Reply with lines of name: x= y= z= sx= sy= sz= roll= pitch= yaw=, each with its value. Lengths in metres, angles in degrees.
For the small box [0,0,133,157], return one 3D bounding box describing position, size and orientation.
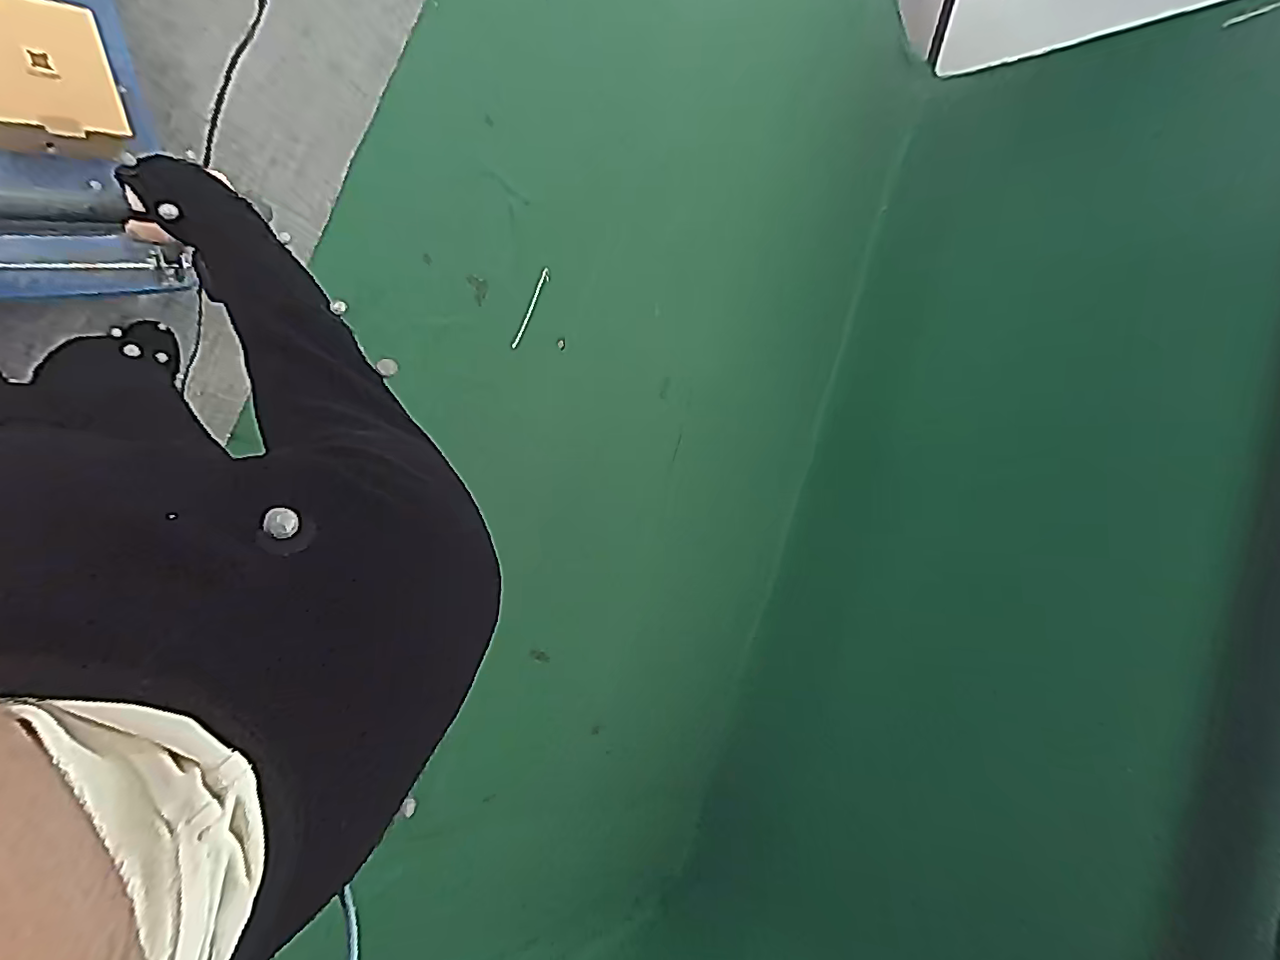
small box: x=-0.962 y=-0.641 z=0.866 sx=0.168 sy=0.176 sz=0.179 roll=-25 pitch=119 yaw=-44
